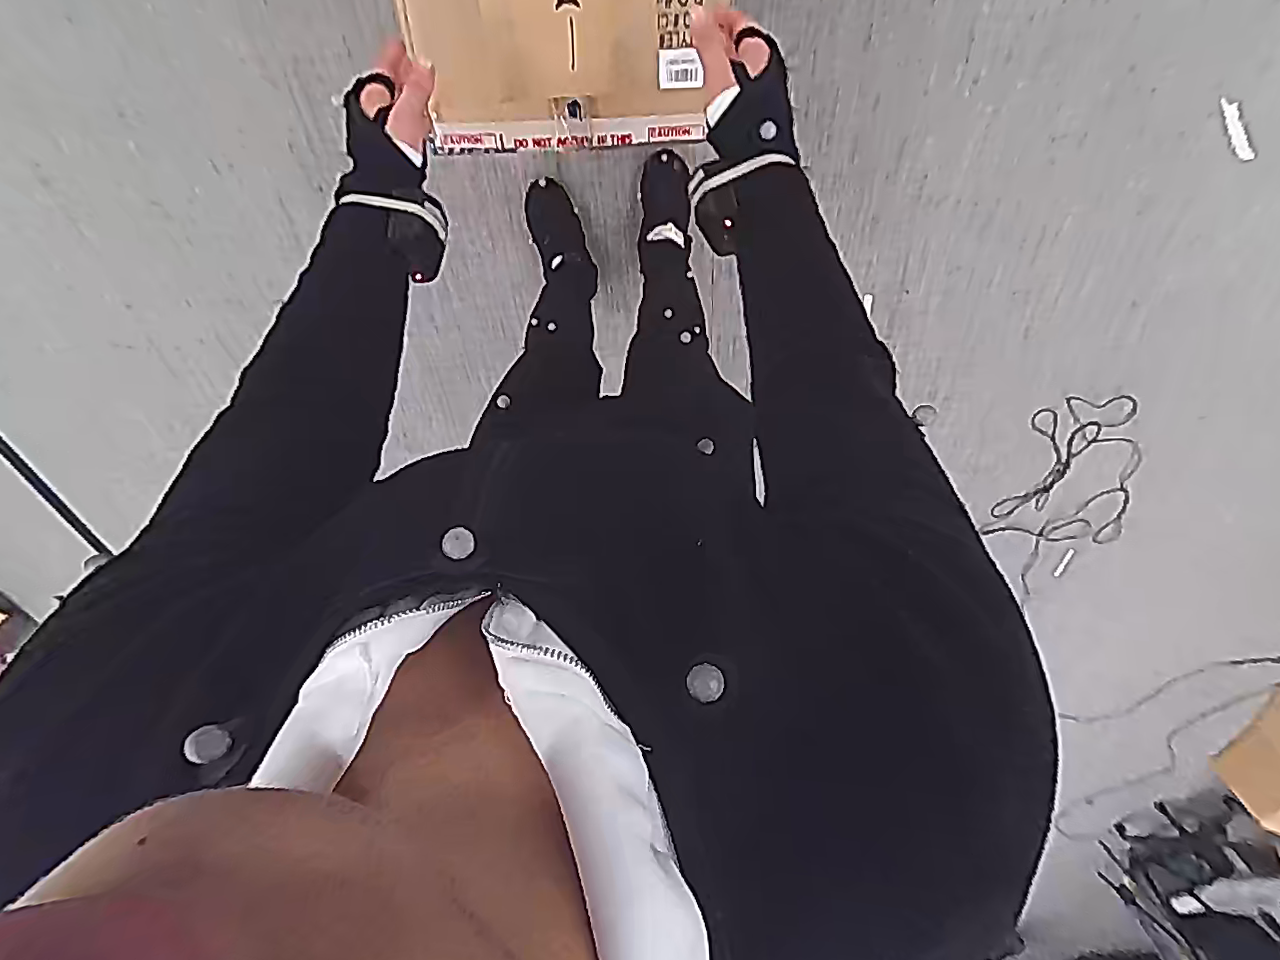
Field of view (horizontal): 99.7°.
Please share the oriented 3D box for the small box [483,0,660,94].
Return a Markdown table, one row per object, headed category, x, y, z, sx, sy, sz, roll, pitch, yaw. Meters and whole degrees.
| category | x | y | z | sx | sy | sz | roll | pitch | yaw |
| --- | --- | --- | --- | --- | --- | --- | --- | --- | --- |
| small box | -0.067 | -0.510 | 0.547 | 0.168 | 0.176 | 0.179 | -3 | 132 | 1 |
